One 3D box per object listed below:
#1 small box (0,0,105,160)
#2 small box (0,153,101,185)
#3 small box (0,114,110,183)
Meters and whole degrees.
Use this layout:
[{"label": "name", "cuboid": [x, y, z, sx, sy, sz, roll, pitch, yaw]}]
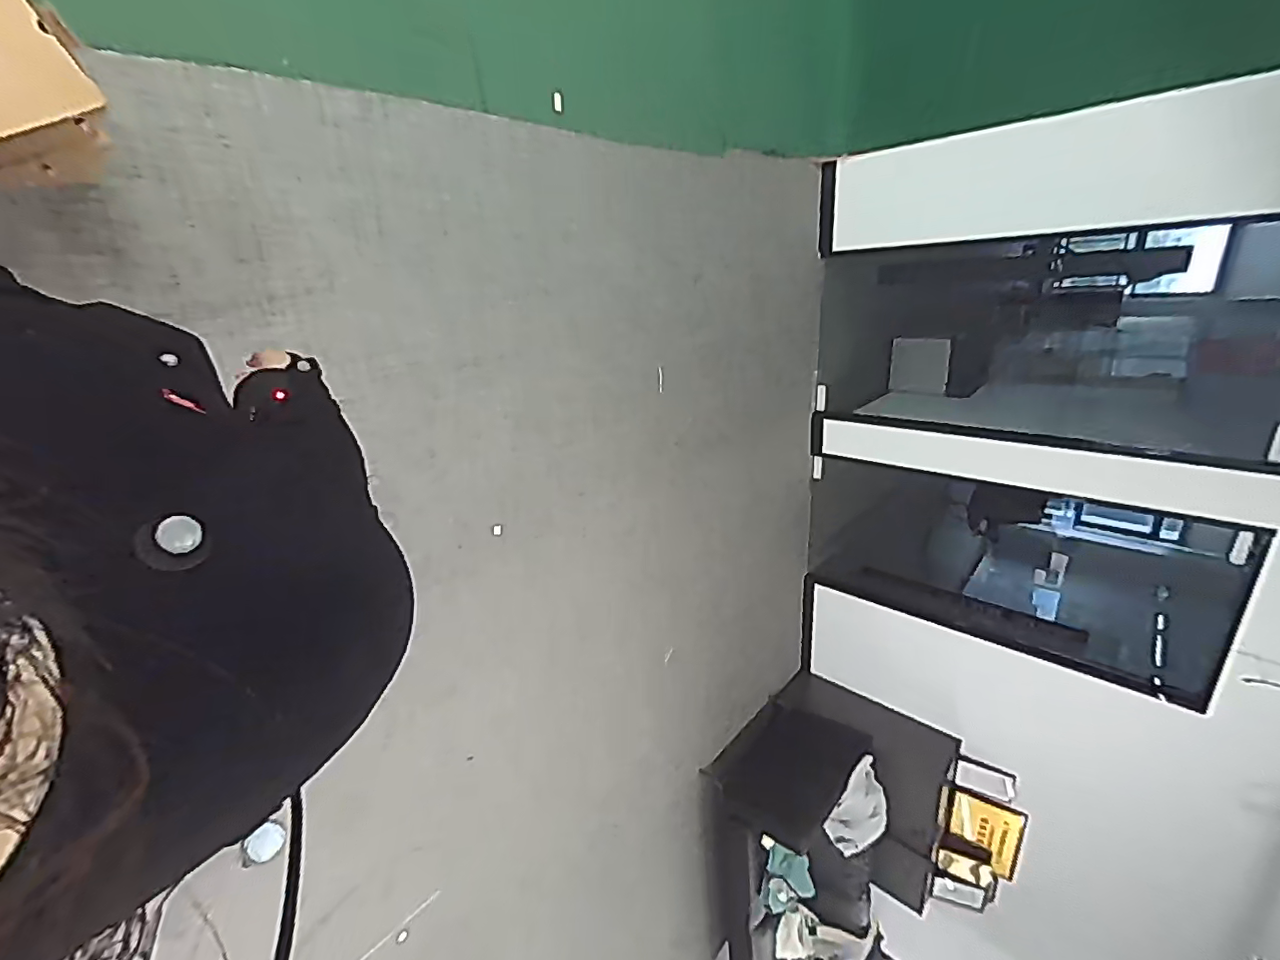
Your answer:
[{"label": "small box", "cuboid": [-0.810, -0.501, 0.650, 0.179, 0.176, 0.168, -48, 134, -28]}, {"label": "small box", "cuboid": [-1.031, -0.582, 0.874, 0.179, 0.176, 0.168, -32, 125, -39]}, {"label": "small box", "cuboid": [-0.919, -0.537, 0.767, 0.179, 0.176, 0.168, -44, 133, -31]}]
